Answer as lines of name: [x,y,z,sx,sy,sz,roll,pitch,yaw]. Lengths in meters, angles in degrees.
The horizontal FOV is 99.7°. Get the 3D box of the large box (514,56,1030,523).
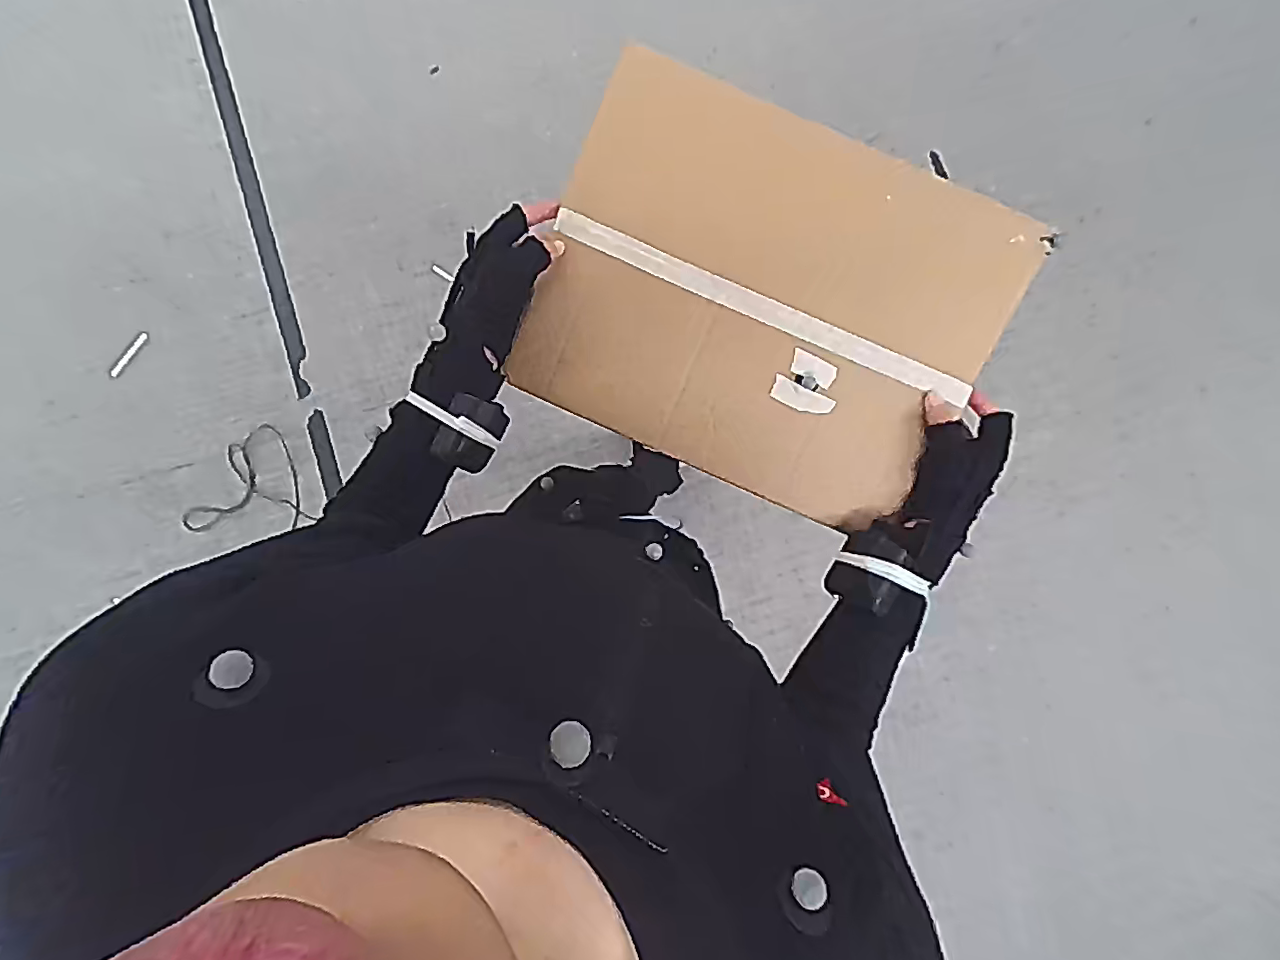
large box: [0.120,-0.193,0.656,0.408,0.320,0.320,24,101,0]
